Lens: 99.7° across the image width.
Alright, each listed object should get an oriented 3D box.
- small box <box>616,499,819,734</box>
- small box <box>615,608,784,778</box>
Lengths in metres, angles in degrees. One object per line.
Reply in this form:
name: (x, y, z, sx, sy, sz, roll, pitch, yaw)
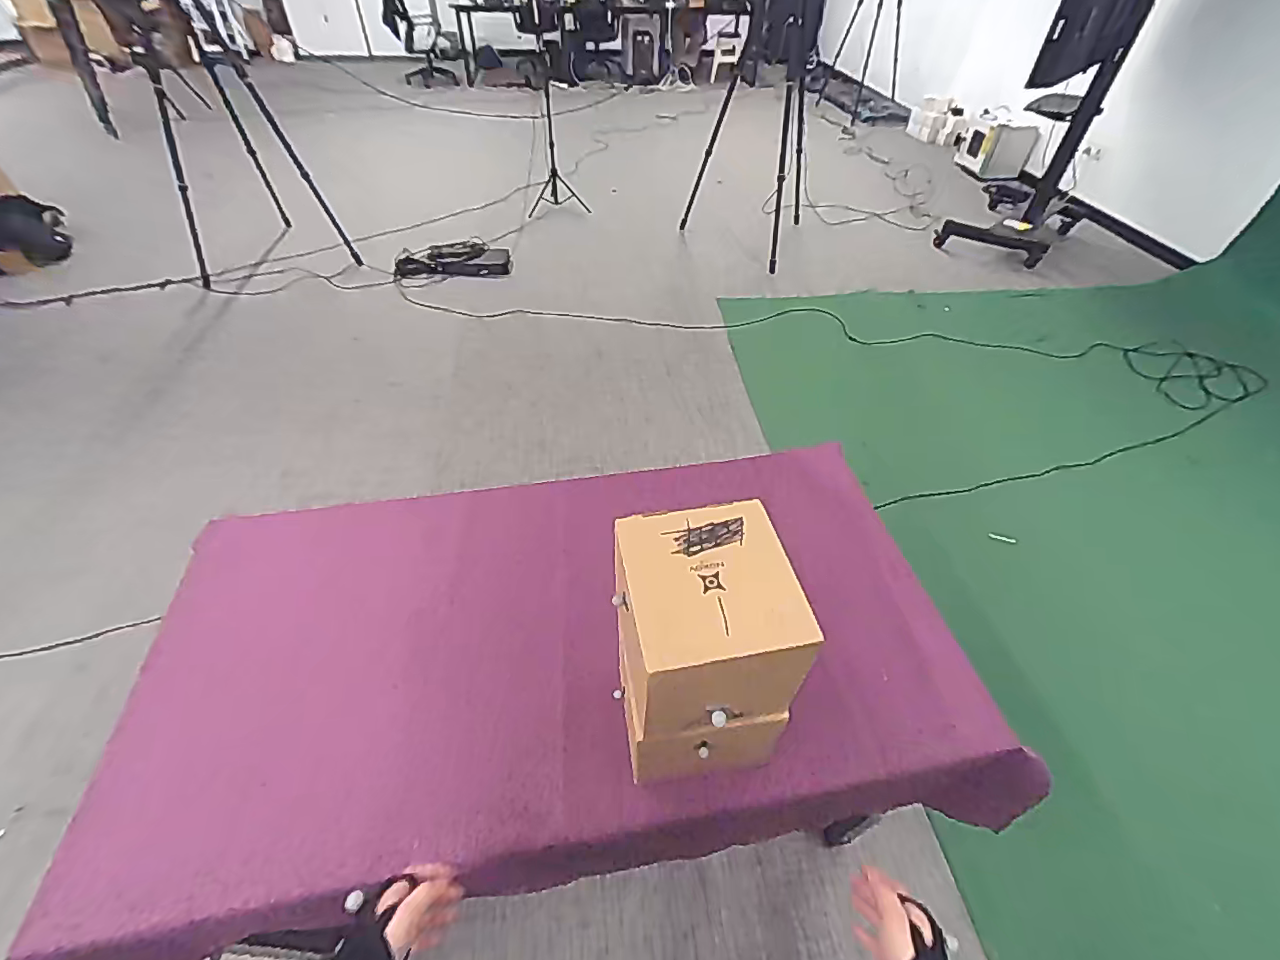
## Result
small box: (0.066, 0.147, 0.588, 0.168, 0.176, 0.179, -8, 47, -8)
small box: (0.065, 0.267, 0.701, 0.179, 0.176, 0.168, -5, 47, -6)
